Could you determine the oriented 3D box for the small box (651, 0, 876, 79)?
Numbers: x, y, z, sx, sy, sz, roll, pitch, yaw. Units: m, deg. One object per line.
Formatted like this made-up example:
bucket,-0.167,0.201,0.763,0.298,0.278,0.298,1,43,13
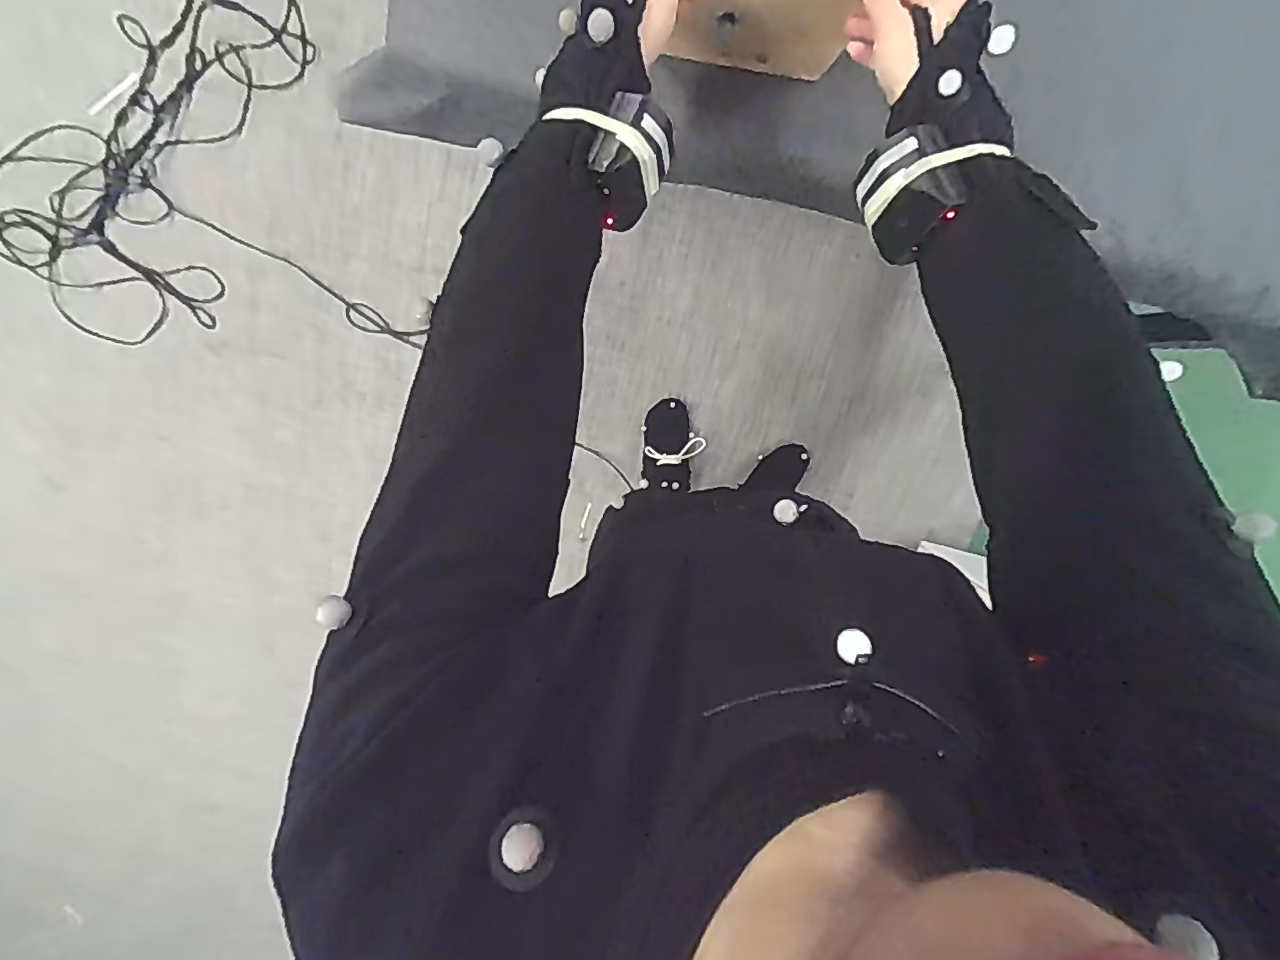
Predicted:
small box,0.101,-0.450,0.421,0.168,0.176,0.179,7,108,-3
